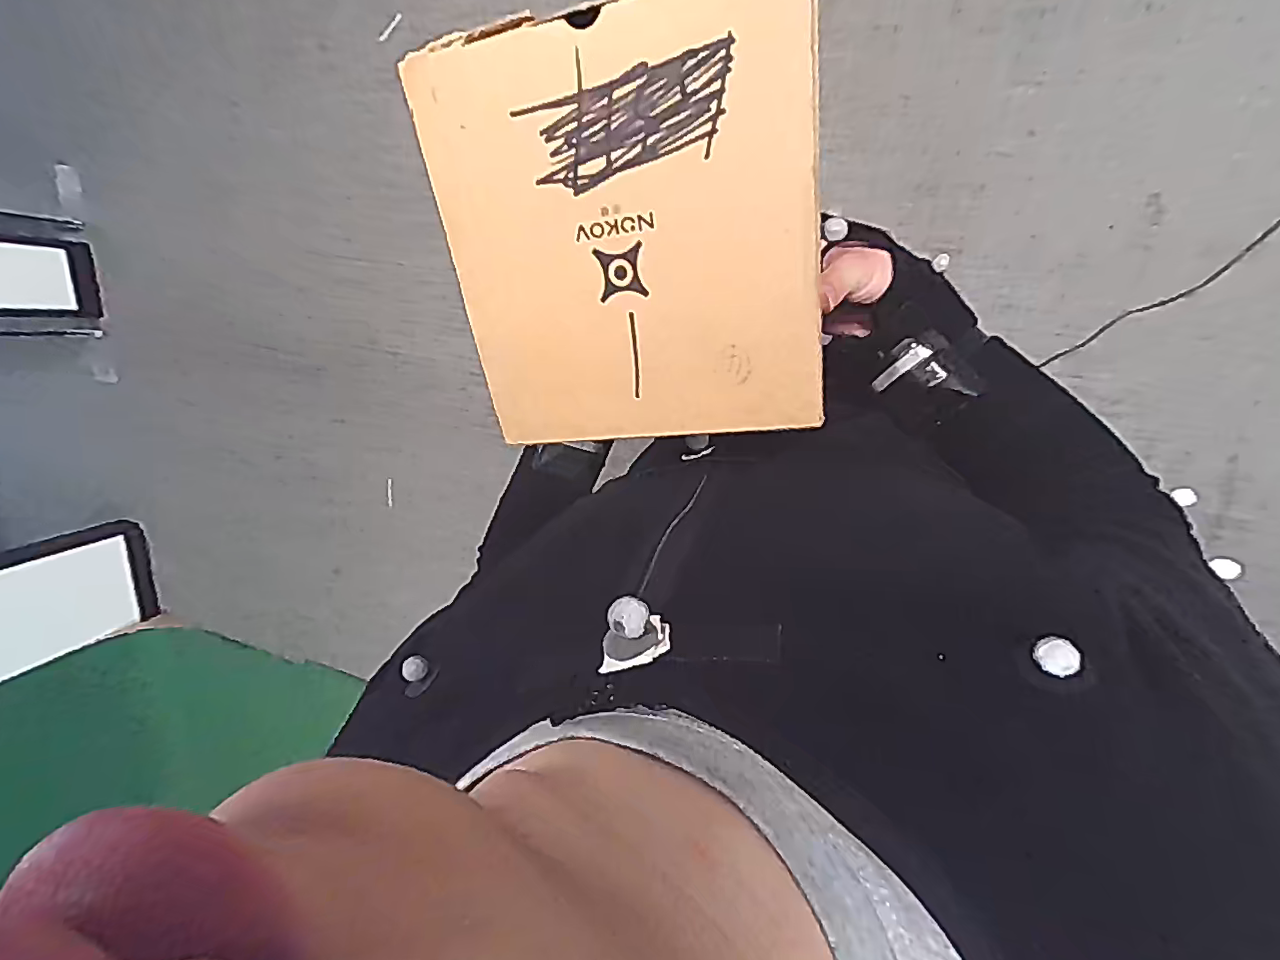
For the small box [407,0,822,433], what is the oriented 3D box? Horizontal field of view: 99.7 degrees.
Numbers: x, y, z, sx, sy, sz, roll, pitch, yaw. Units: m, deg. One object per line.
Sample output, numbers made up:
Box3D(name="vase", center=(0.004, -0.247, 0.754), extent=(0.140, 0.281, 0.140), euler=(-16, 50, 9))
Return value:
Box3D(name="small box", center=(0.012, -0.141, 0.305), extent=(0.168, 0.176, 0.179), euler=(-2, 116, 17))
